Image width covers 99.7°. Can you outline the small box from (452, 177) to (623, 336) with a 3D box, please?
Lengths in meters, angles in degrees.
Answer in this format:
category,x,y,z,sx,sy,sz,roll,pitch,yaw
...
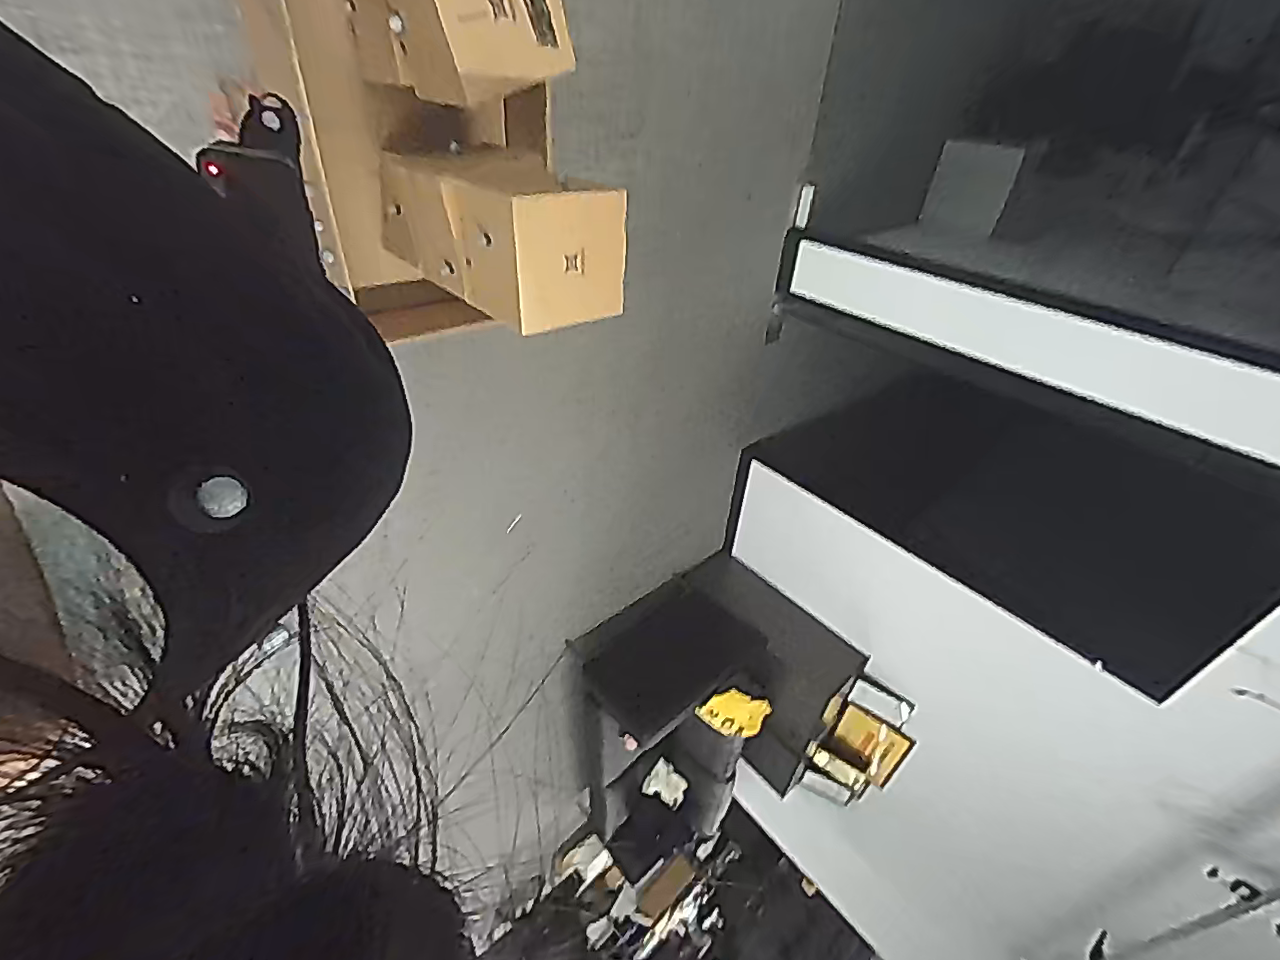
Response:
category,x,y,z,sx,sy,sz,roll,pitch,yaw
small box,-0.145,-0.318,0.754,0.179,0.176,0.168,-26,135,-36

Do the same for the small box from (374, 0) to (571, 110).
category,x,y,z,sx,sy,sz,roll,pitch,yaw
small box,-0.222,-0.608,0.703,0.179,0.176,0.168,-37,141,-21

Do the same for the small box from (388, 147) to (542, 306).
category,x,y,z,sx,sy,sz,roll,pitch,yaw
small box,-0.258,-0.398,0.839,0.168,0.176,0.179,-32,138,-30

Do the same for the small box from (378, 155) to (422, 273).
category,x,y,z,sx,sy,sz,roll,pitch,yaw
small box,-0.351,-0.466,0.961,0.179,0.176,0.168,-15,129,-41
